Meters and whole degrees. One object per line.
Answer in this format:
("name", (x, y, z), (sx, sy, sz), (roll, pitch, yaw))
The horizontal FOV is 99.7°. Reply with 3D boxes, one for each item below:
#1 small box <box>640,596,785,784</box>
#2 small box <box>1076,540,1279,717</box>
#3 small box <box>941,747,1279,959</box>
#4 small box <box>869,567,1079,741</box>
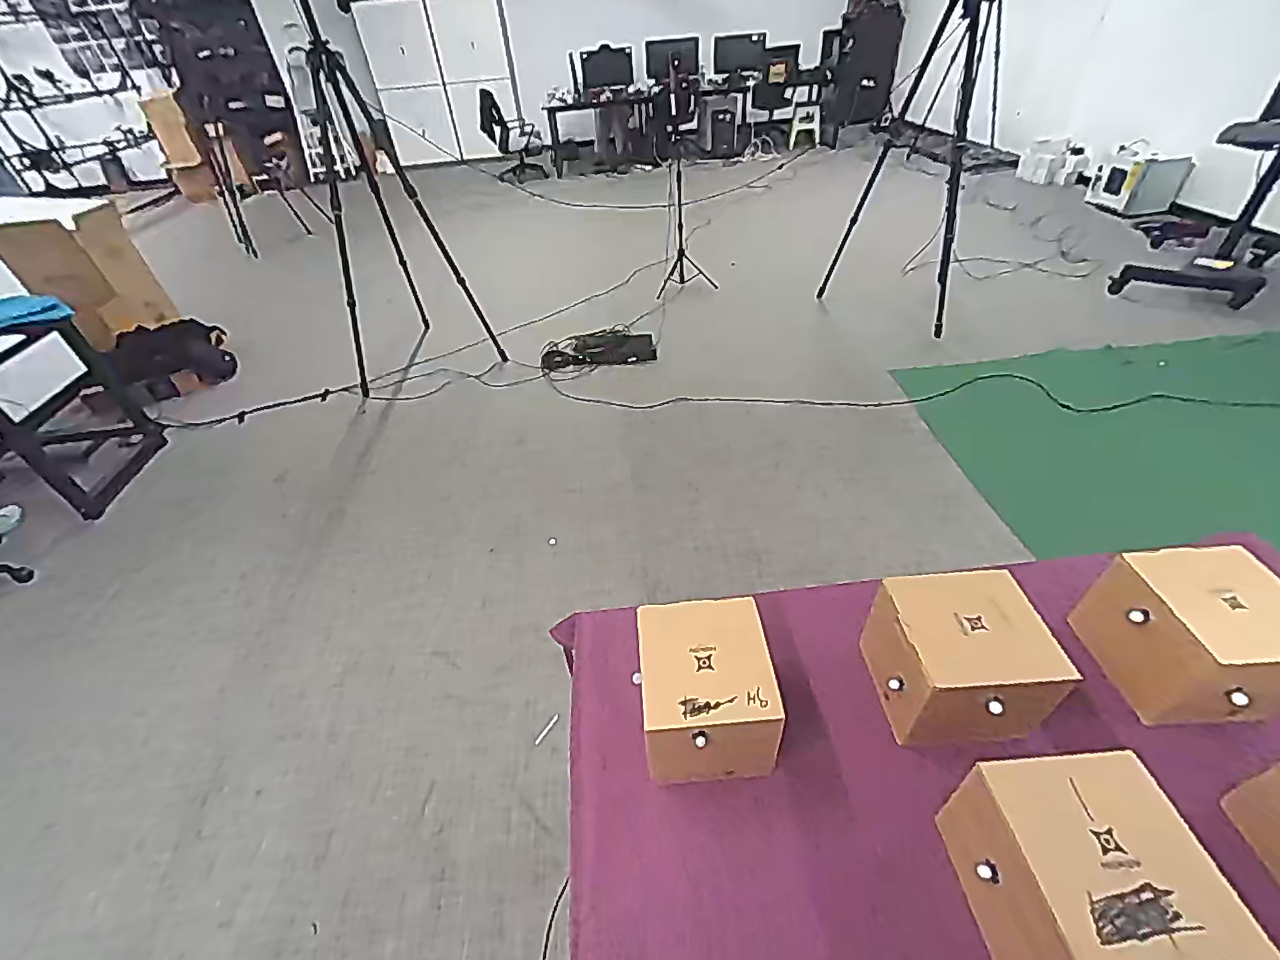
("small box", (0.089, 0.285, 0.738), (0.168, 0.176, 0.179), (-6, 40, 1))
("small box", (0.758, 0.206, 0.737), (0.168, 0.176, 0.179), (-5, 40, 3))
("small box", (0.445, 0.402, 0.552), (0.168, 0.176, 0.179), (-6, 40, 1))
("small box", (0.432, 0.241, 0.743), (0.179, 0.176, 0.168), (-4, 42, 2))
